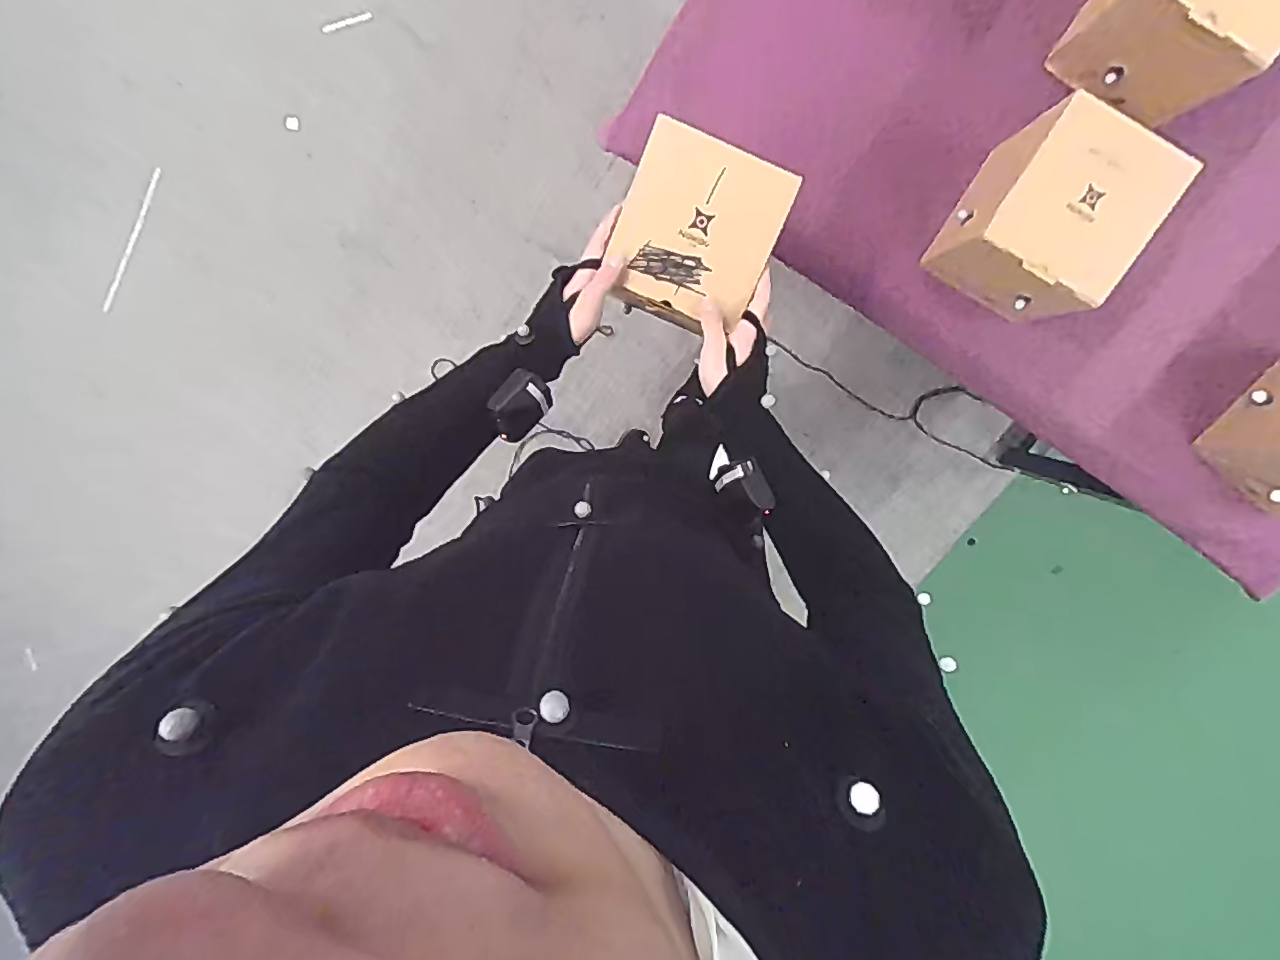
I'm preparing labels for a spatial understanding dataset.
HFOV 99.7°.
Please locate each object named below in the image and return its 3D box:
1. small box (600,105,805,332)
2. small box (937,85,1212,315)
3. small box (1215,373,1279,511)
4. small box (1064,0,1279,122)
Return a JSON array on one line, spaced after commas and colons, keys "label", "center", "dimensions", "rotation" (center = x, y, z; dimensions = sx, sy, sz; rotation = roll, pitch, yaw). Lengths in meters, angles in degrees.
[{"label": "small box", "center": [0.068, -0.287, 0.644], "dimensions": [0.168, 0.176, 0.179], "rotation": [23, 103, -3]}, {"label": "small box", "center": [0.509, -0.324, 0.672], "dimensions": [0.168, 0.176, 0.179], "rotation": [30, 102, -2]}, {"label": "small box", "center": [0.914, -0.048, 0.689], "dimensions": [0.168, 0.176, 0.179], "rotation": [39, 102, -3]}, {"label": "small box", "center": [0.645, -0.559, 0.609], "dimensions": [0.168, 0.176, 0.179], "rotation": [33, 104, -2]}]
